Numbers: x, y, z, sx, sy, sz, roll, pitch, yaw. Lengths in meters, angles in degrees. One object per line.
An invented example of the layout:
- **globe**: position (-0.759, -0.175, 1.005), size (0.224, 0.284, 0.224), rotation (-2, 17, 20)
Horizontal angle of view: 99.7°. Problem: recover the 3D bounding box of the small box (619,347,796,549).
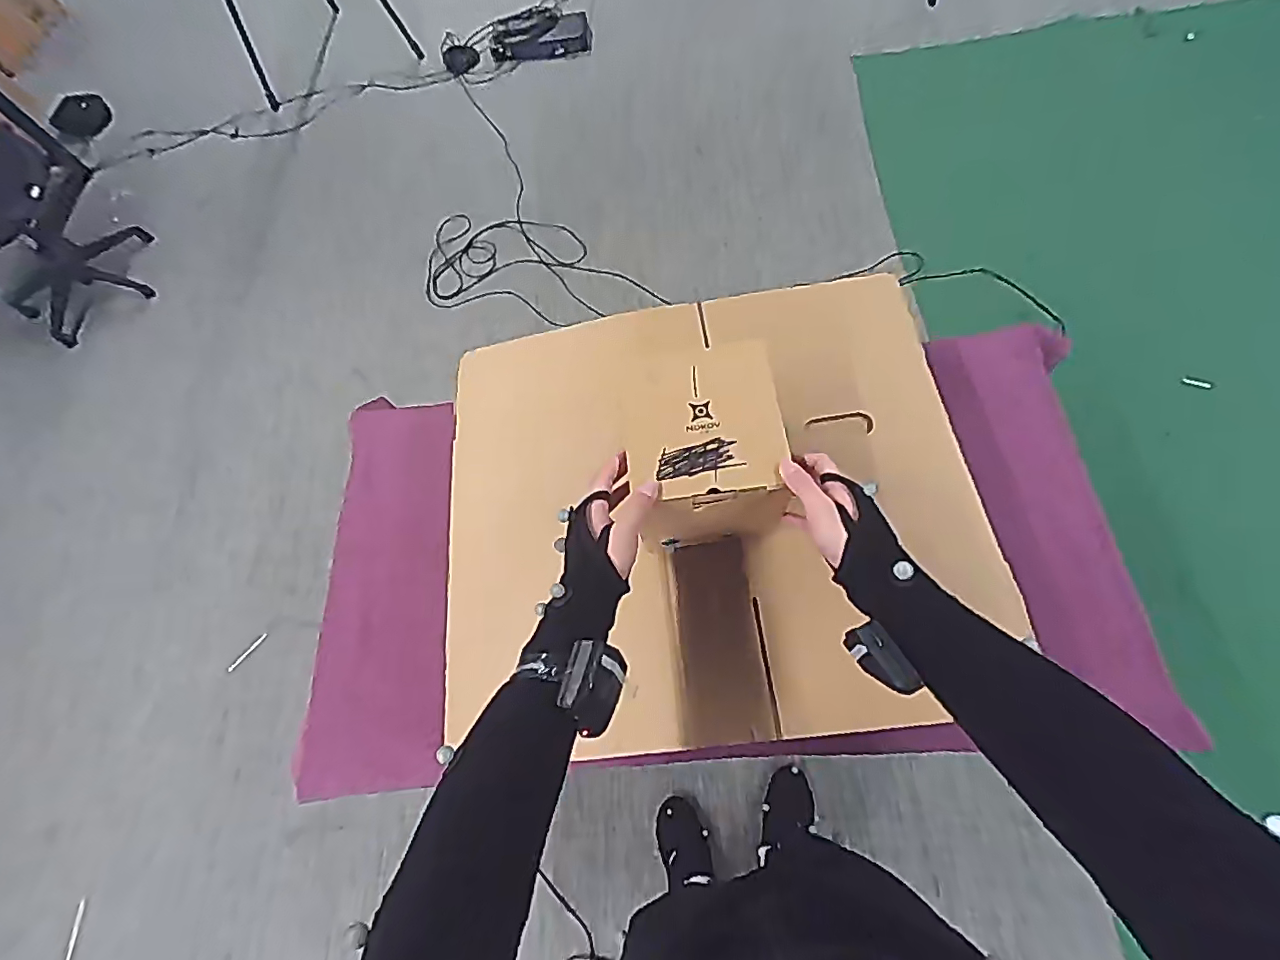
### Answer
- **small box**: position (0.072, -0.025, 0.632), size (0.168, 0.176, 0.179), rotation (-8, 65, 2)
